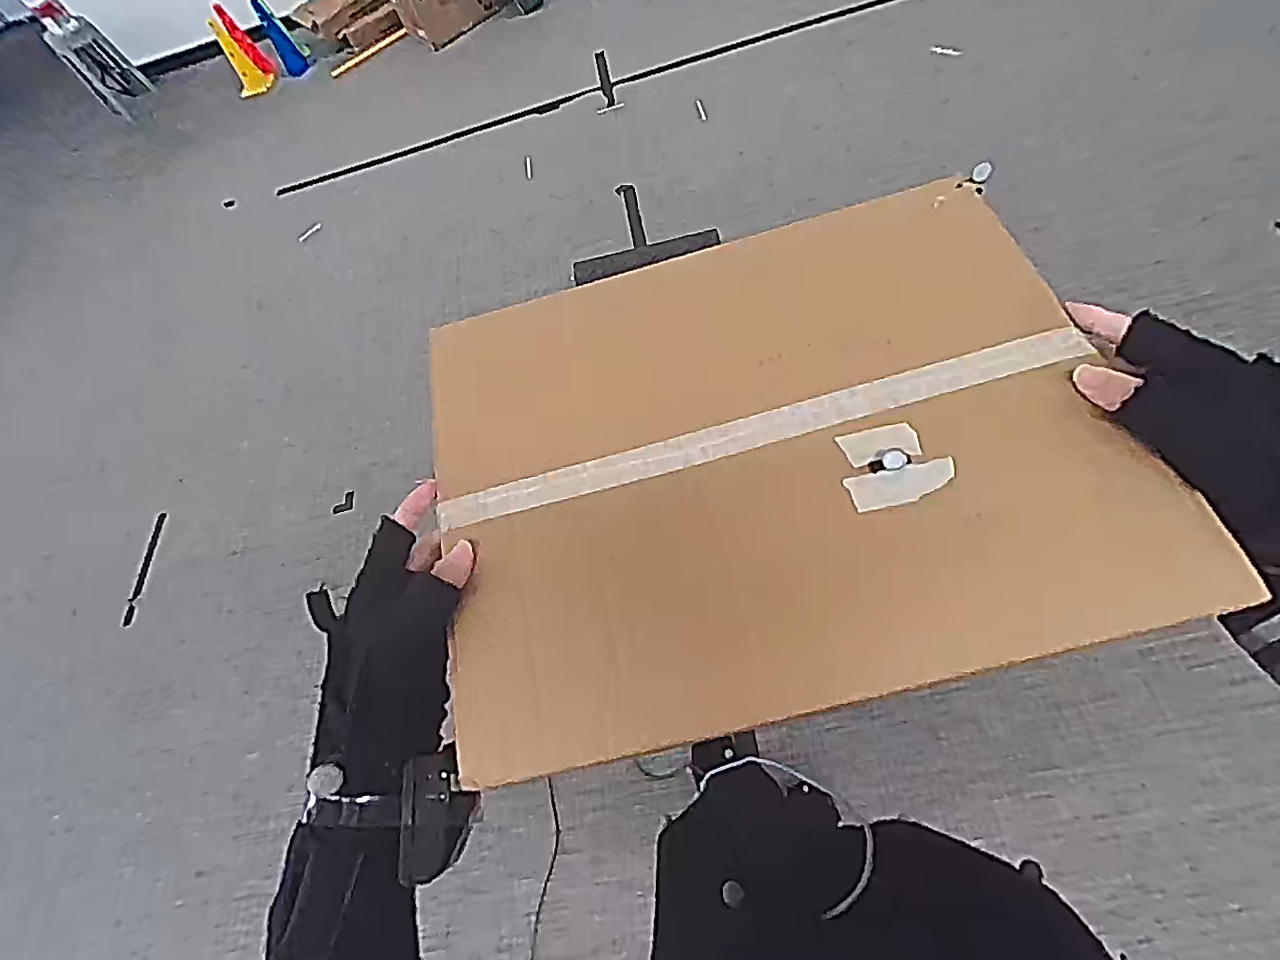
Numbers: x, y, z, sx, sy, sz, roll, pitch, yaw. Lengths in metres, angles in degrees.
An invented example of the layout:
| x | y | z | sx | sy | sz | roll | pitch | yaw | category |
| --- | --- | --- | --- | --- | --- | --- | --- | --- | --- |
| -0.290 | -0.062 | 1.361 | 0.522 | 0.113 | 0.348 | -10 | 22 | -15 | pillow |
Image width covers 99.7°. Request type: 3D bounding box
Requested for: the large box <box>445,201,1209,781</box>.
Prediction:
| x | y | z | sx | sy | sz | roll | pitch | yaw | category |
| --- | --- | --- | --- | --- | --- | --- | --- | --- | --- |
| 0.093 | 0.037 | 0.482 | 0.408 | 0.320 | 0.320 | -15 | 66 | 3 | large box |
